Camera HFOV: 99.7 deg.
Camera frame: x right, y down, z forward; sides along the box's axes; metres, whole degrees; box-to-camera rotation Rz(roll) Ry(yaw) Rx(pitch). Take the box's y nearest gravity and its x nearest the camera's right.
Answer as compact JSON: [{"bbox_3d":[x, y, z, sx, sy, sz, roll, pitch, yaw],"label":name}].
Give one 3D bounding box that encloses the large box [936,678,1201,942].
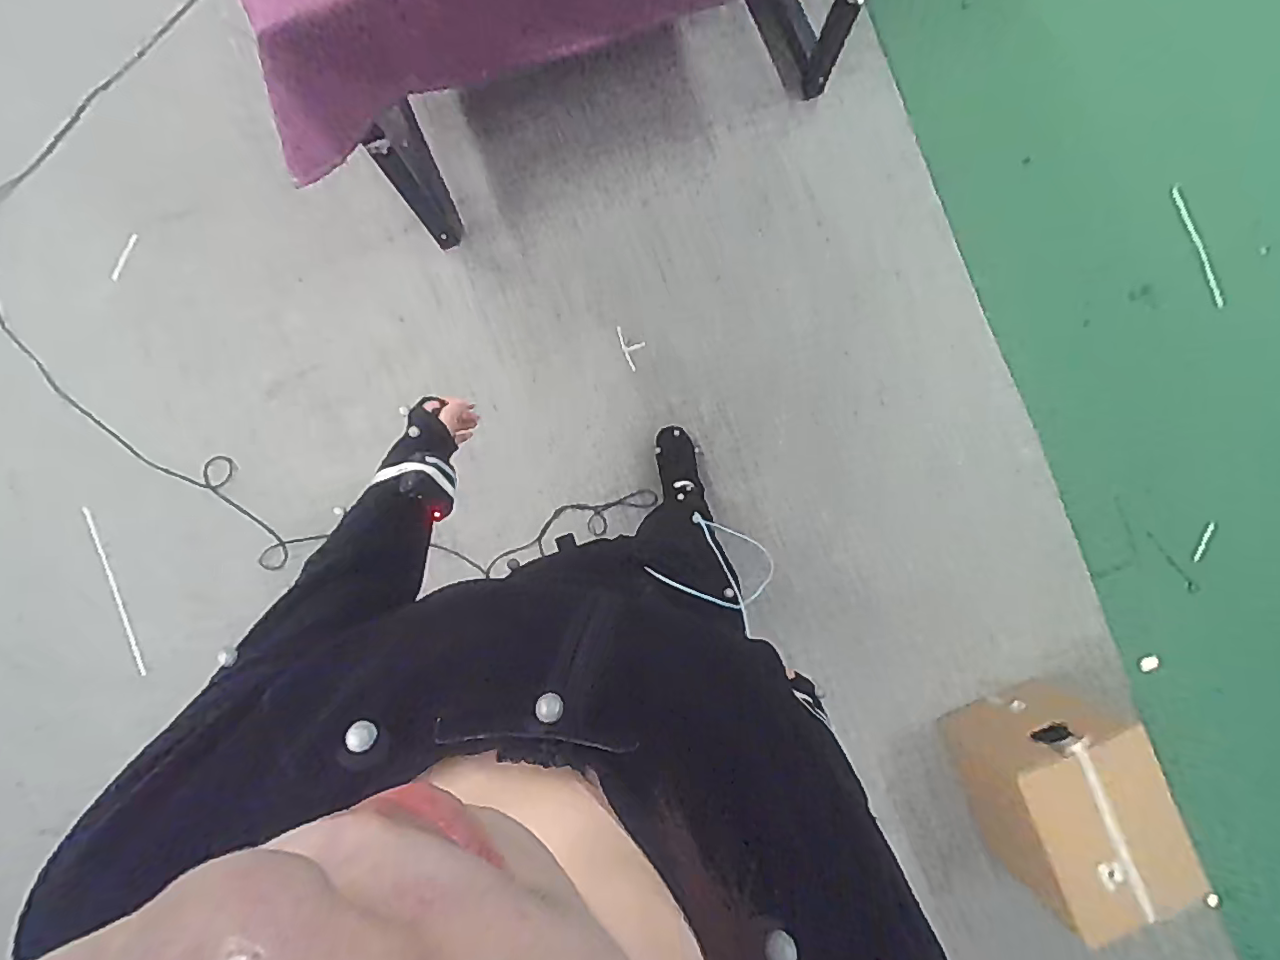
[{"bbox_3d":[1.024,0.779,1.340,0.320,0.320,0.408,-21,90,-2],"label":"large box"}]
